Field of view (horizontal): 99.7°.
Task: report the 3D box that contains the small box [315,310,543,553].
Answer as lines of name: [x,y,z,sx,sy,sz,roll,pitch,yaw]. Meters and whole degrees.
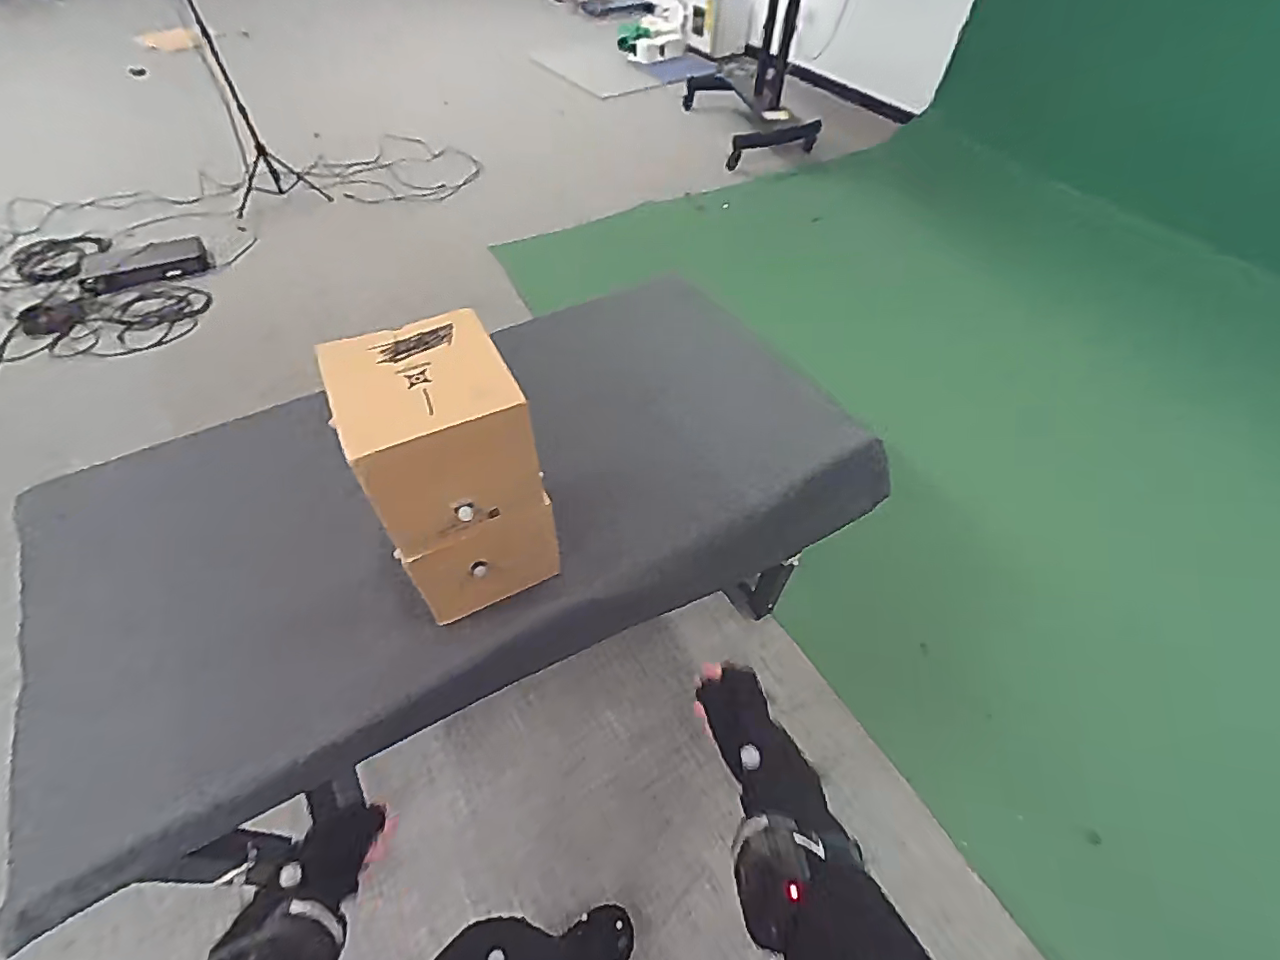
small box: [-0.222,-0.054,0.595,0.168,0.176,0.179,-25,54,-20]

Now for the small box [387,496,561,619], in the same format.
small box: [-0.221,0.056,0.718,0.179,0.176,0.168,-24,56,-17]
